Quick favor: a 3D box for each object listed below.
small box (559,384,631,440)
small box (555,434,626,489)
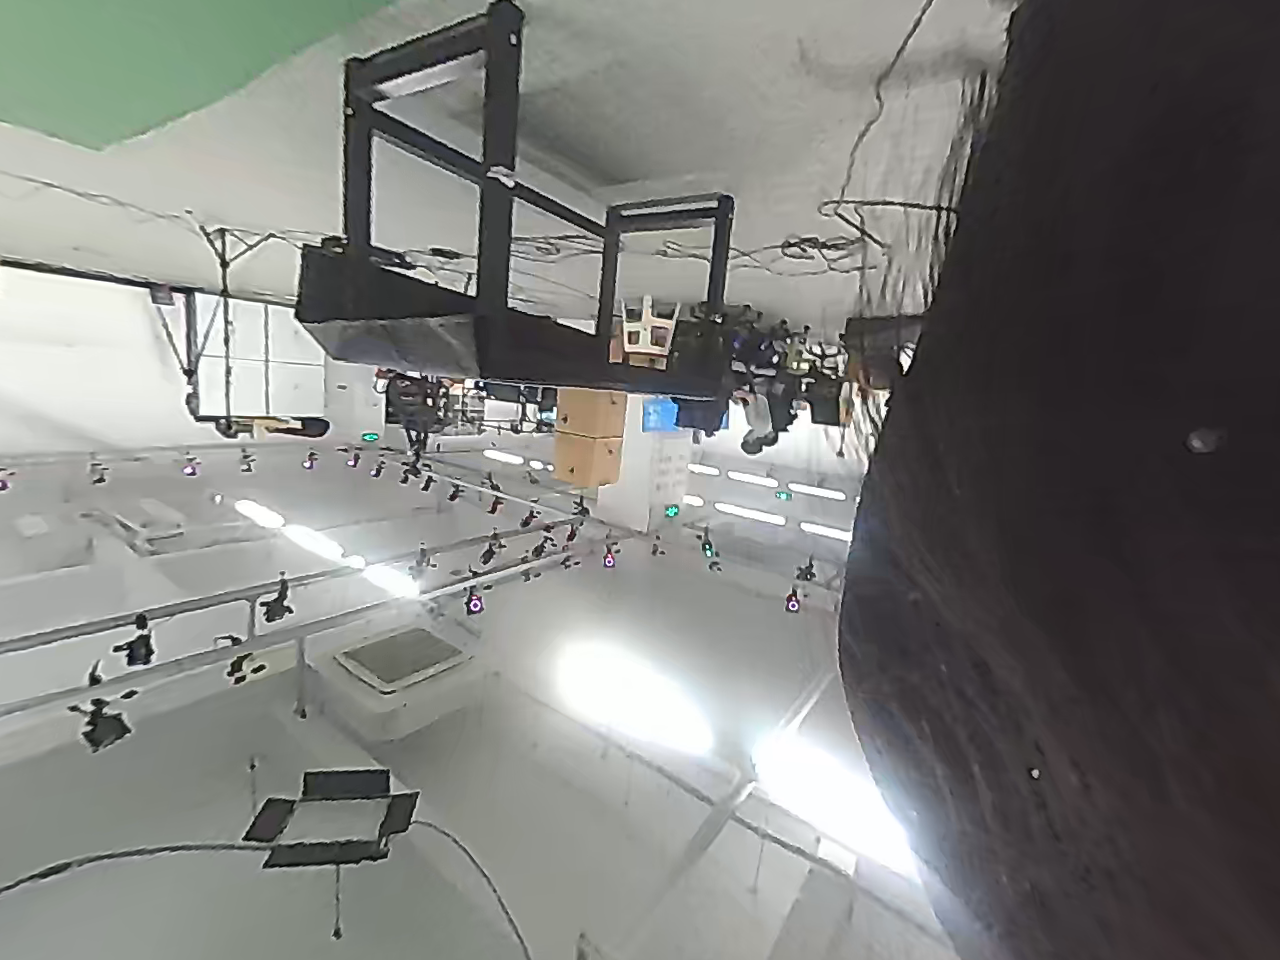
[{"bbox_3d":[-0.147,-0.231,1.816,0.179,0.176,0.168,13,-167,33],"label":"small box"},{"bbox_3d":[-0.165,-0.072,1.845,0.179,0.176,0.168,13,-168,33],"label":"small box"}]
